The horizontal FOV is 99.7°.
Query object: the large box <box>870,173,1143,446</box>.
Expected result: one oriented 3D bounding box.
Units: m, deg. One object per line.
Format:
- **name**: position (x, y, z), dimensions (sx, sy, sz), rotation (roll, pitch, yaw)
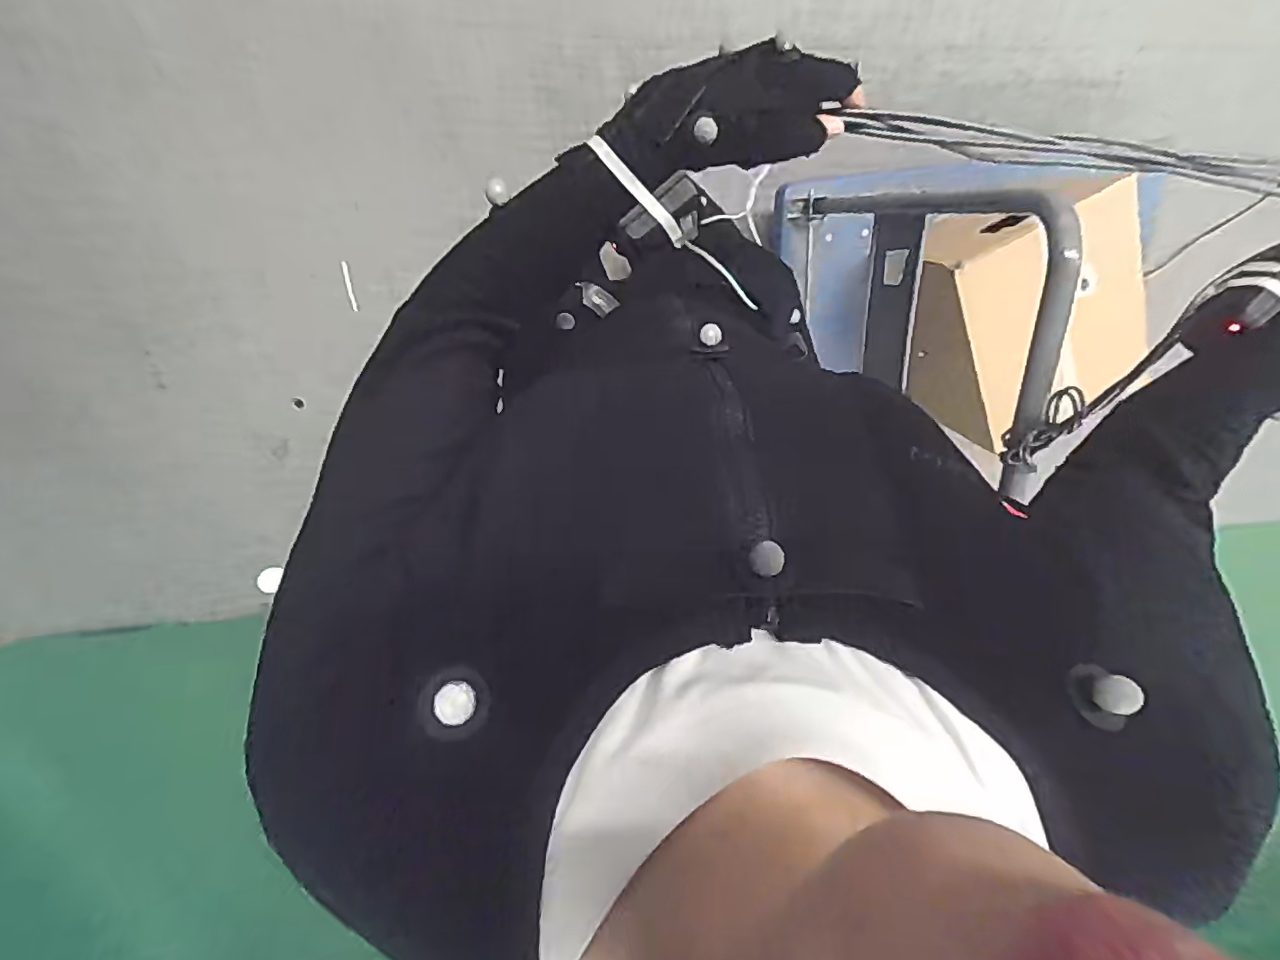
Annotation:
- **large box**: position (0.743, -0.351, 1.126), dimensions (0.320, 0.320, 0.408), rotation (-28, 115, 7)
